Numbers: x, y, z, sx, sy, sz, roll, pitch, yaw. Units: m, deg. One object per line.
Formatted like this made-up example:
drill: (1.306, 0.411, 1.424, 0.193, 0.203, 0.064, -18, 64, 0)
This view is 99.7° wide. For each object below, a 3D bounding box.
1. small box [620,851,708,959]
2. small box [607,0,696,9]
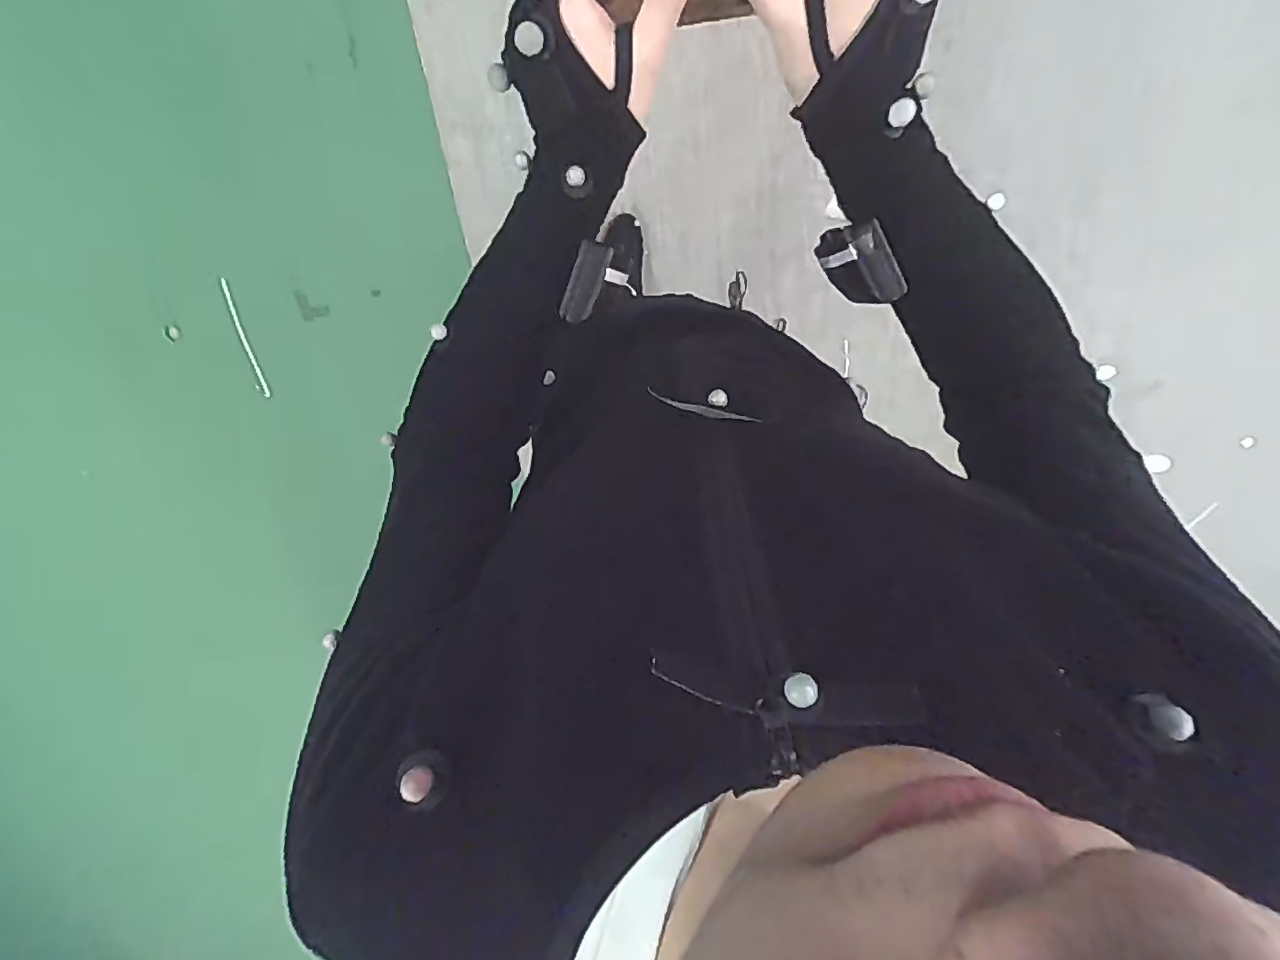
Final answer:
small box: (0.052, 0.948, 1.167, 0.168, 0.176, 0.179, -11, 113, 1)
small box: (0.034, -0.379, 0.268, 0.168, 0.176, 0.179, -3, 103, 5)
